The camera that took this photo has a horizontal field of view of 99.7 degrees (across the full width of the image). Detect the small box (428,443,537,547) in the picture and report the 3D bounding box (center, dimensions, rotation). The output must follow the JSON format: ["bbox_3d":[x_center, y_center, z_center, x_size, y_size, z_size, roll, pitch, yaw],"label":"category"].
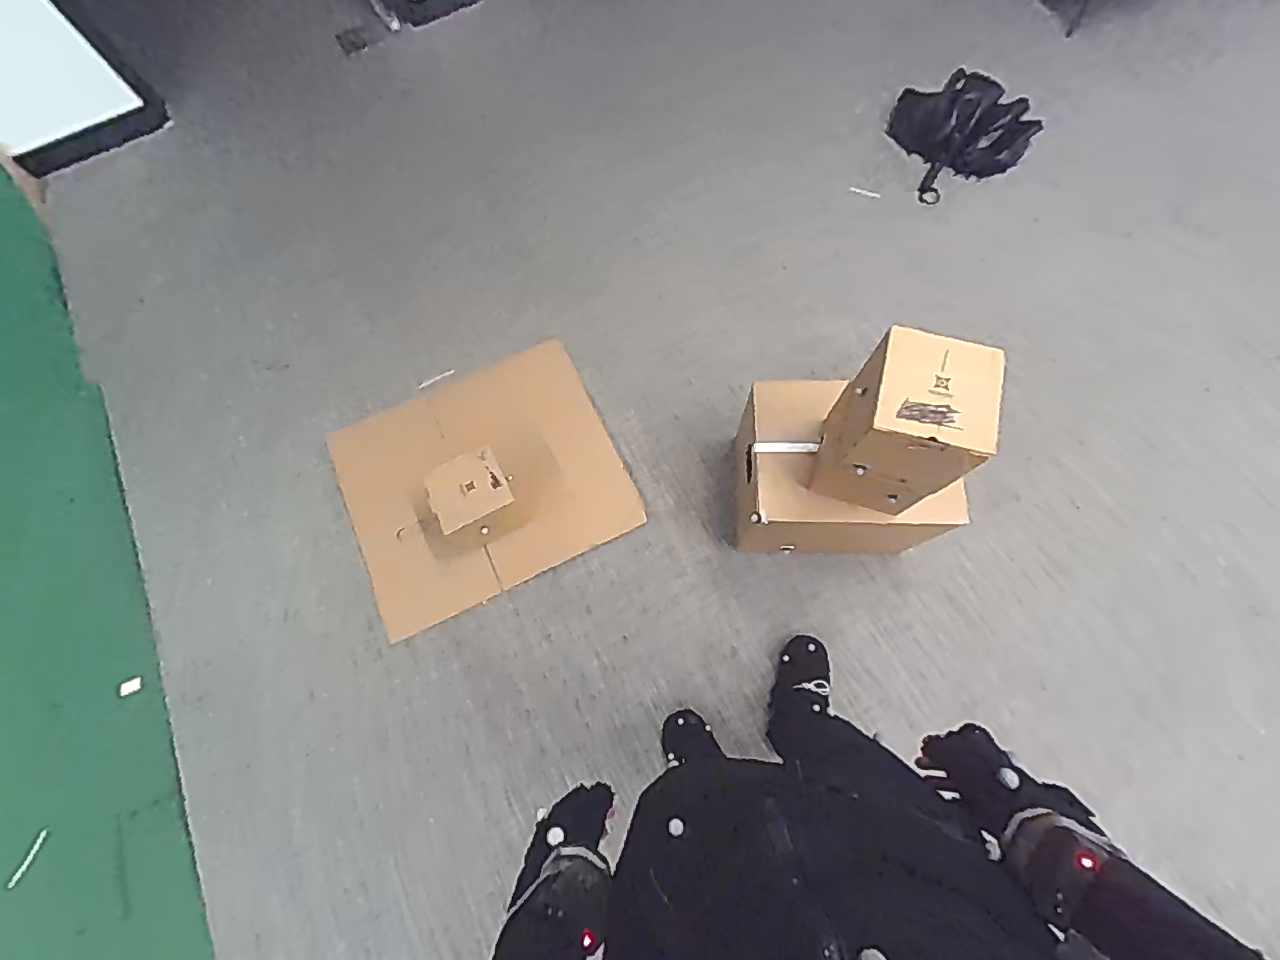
[{"bbox_3d":[-0.379,0.045,1.326,0.179,0.176,0.168,-30,71,-6],"label":"small box"}]

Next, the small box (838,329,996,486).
[{"bbox_3d":[0.423,-0.104,0.848,0.168,0.176,0.179,12,73,7],"label":"small box"}]

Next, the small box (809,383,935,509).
[{"bbox_3d":[0.434,-0.056,1.005,0.179,0.176,0.168,15,72,9],"label":"small box"}]
